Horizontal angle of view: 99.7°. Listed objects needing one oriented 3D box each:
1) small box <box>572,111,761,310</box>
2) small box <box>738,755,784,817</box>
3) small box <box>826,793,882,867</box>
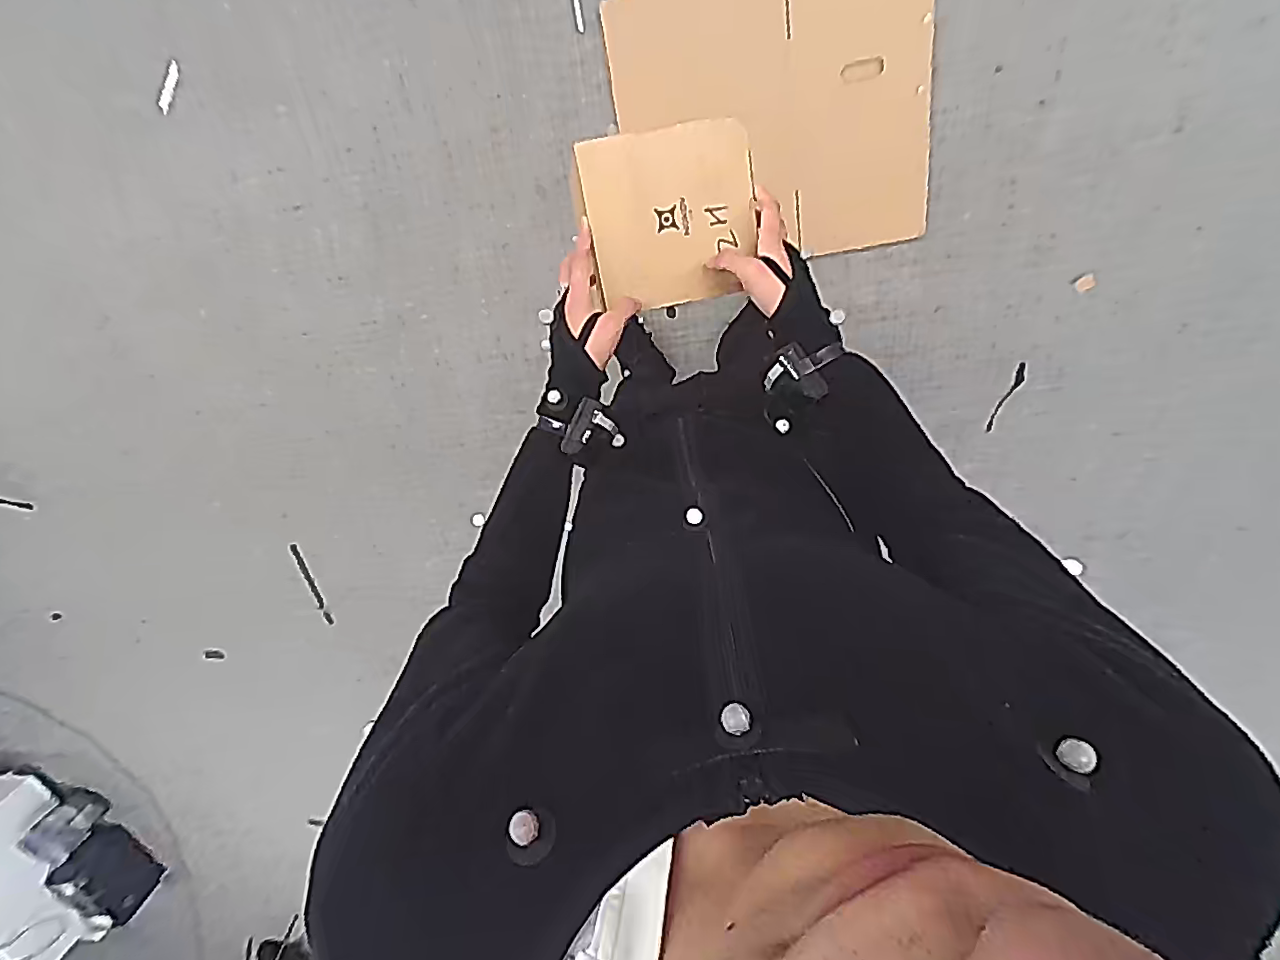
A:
[{"bbox_3d":[0.022,-0.293,0.622,0.179,0.176,0.168,-13,110,-5],"label":"small box"},{"bbox_3d":[0.505,1.278,2.263,0.168,0.176,0.179,-7,117,12],"label":"small box"},{"bbox_3d":[0.810,1.331,2.059,0.168,0.176,0.179,-4,116,9],"label":"small box"}]
